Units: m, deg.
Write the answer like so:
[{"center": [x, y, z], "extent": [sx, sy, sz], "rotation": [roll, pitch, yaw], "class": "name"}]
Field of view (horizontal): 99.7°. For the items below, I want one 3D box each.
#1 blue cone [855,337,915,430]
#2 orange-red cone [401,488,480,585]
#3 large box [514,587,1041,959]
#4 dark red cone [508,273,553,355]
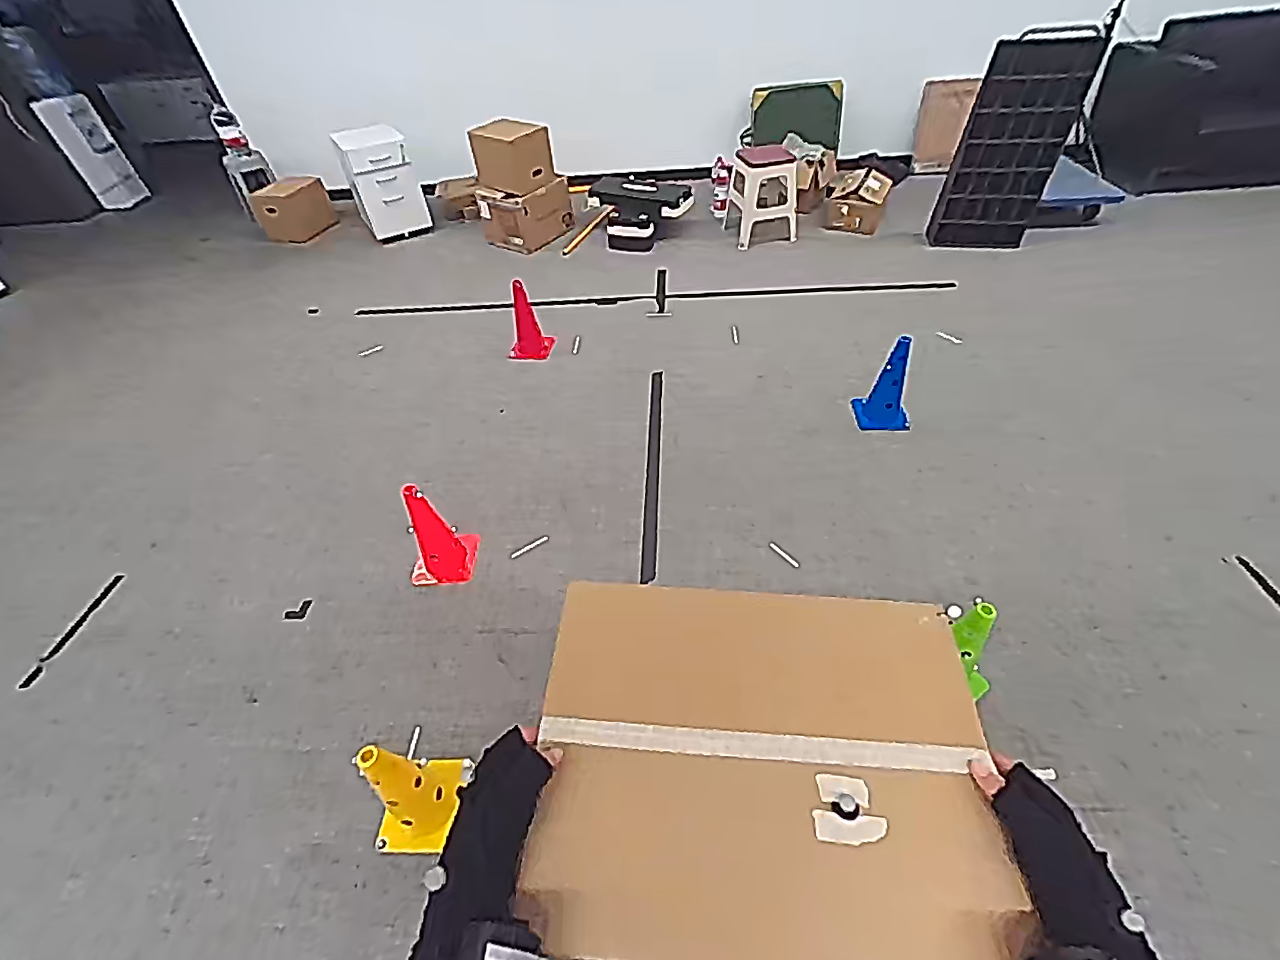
[{"center": [0.989, -0.385, 2.115], "extent": [0.192, 0.380, 0.193], "rotation": [2, 47, 6], "class": "blue cone"}, {"center": [-0.671, 0.157, 1.723], "extent": [0.198, 0.360, 0.199], "rotation": [-4, 47, 3], "class": "orange-red cone"}, {"center": [0.109, 0.341, 0.611], "extent": [0.408, 0.320, 0.320], "rotation": [3, 50, 3], "class": "large box"}, {"center": [-0.556, -0.797, 2.599], "extent": [0.201, 0.394, 0.202], "rotation": [4, 47, 7], "class": "dark red cone"}]
